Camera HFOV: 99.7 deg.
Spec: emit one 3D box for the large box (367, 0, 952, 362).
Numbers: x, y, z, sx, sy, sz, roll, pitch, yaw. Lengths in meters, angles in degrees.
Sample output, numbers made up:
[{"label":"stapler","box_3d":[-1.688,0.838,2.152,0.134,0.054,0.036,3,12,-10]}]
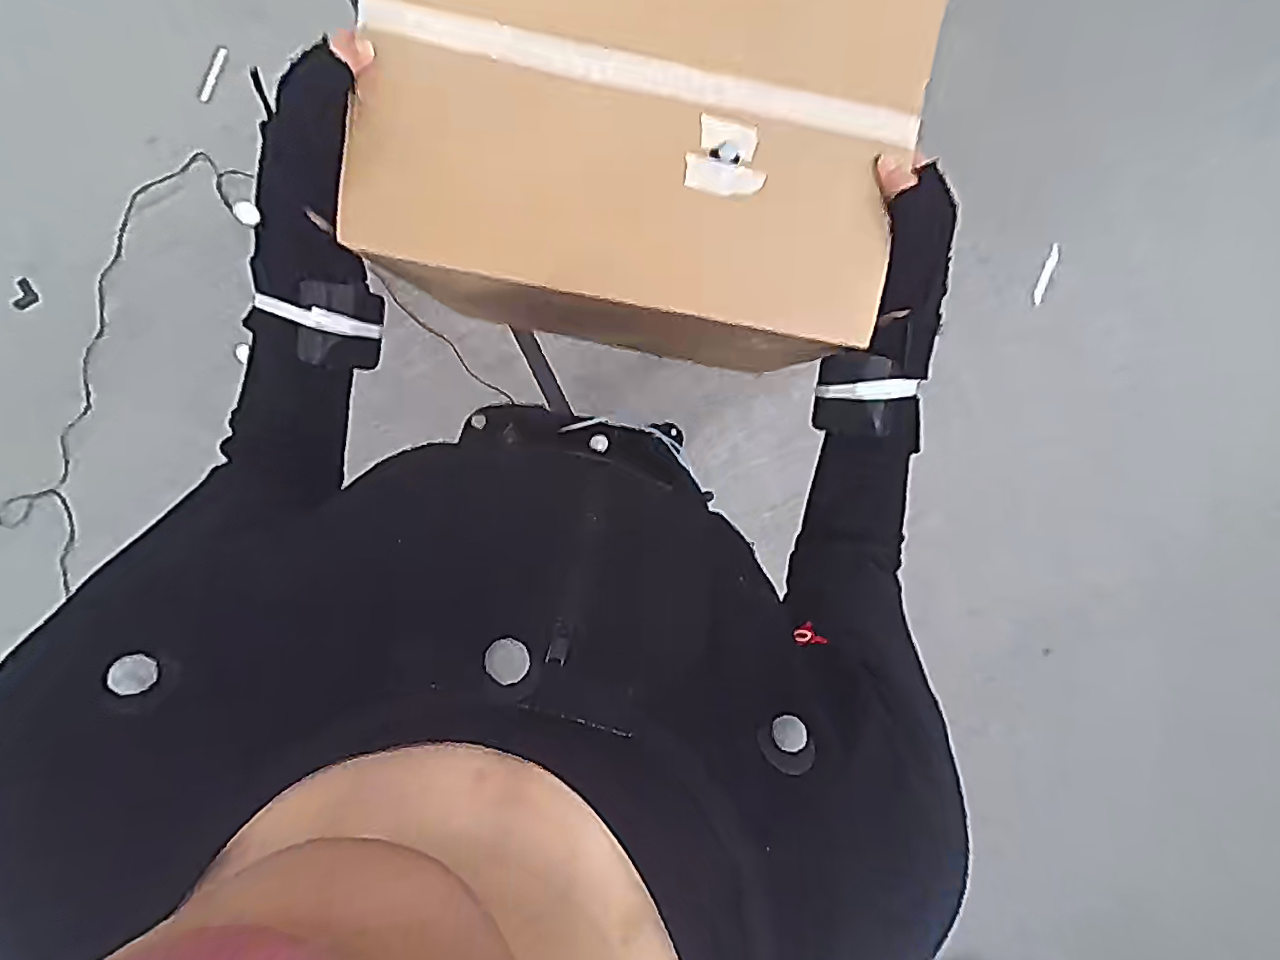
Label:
[{"label":"large box","box_3d":[0.008,-0.316,0.542,0.408,0.320,0.320,11,98,-5]}]
